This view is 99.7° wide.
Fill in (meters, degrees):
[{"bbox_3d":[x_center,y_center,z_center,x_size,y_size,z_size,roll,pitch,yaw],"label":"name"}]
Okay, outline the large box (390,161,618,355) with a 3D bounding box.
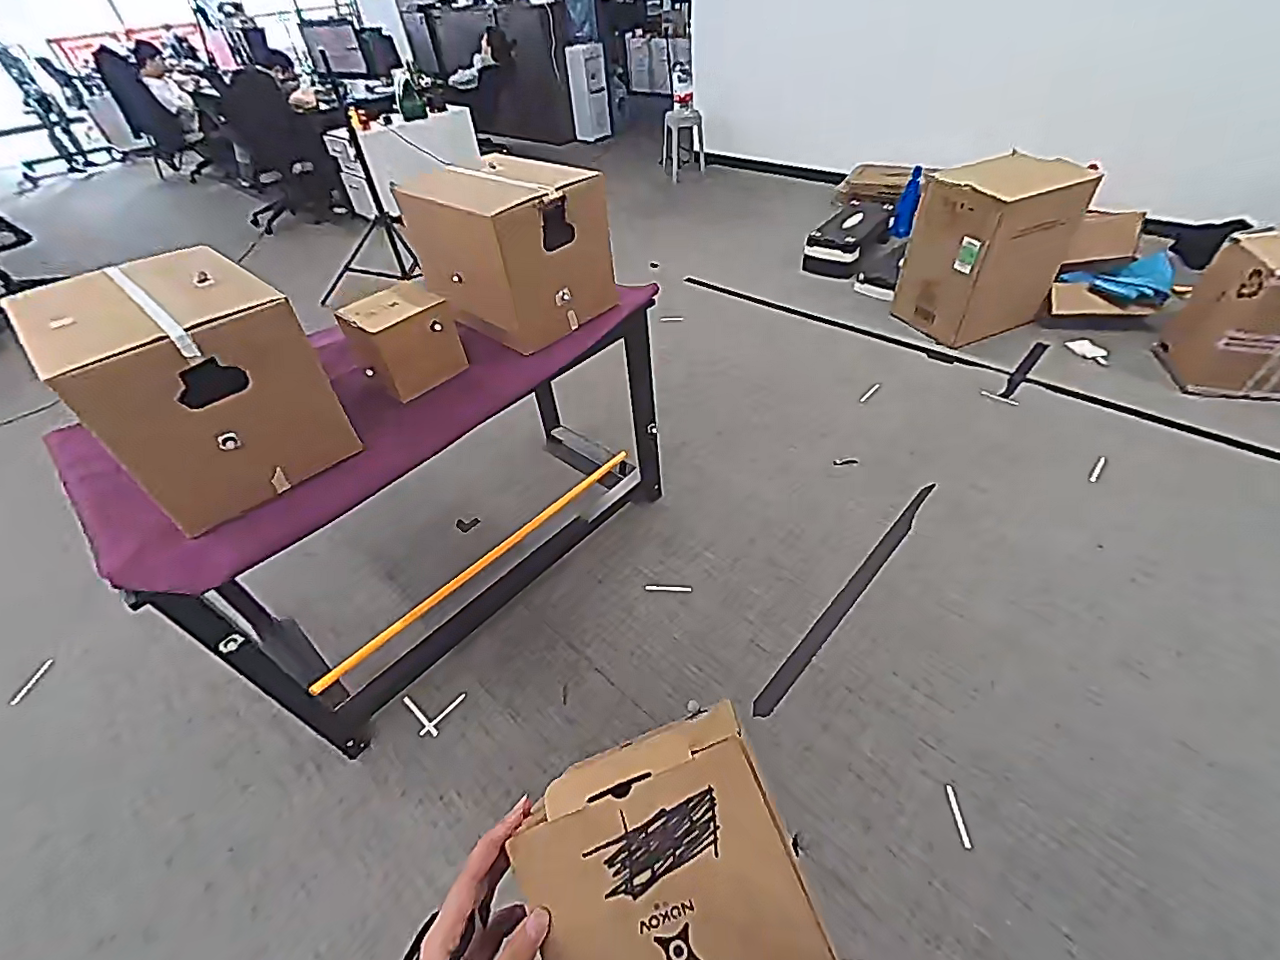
[{"bbox_3d":[-0.313,-0.549,1.315,0.408,0.320,0.320,29,53,32],"label":"large box"}]
